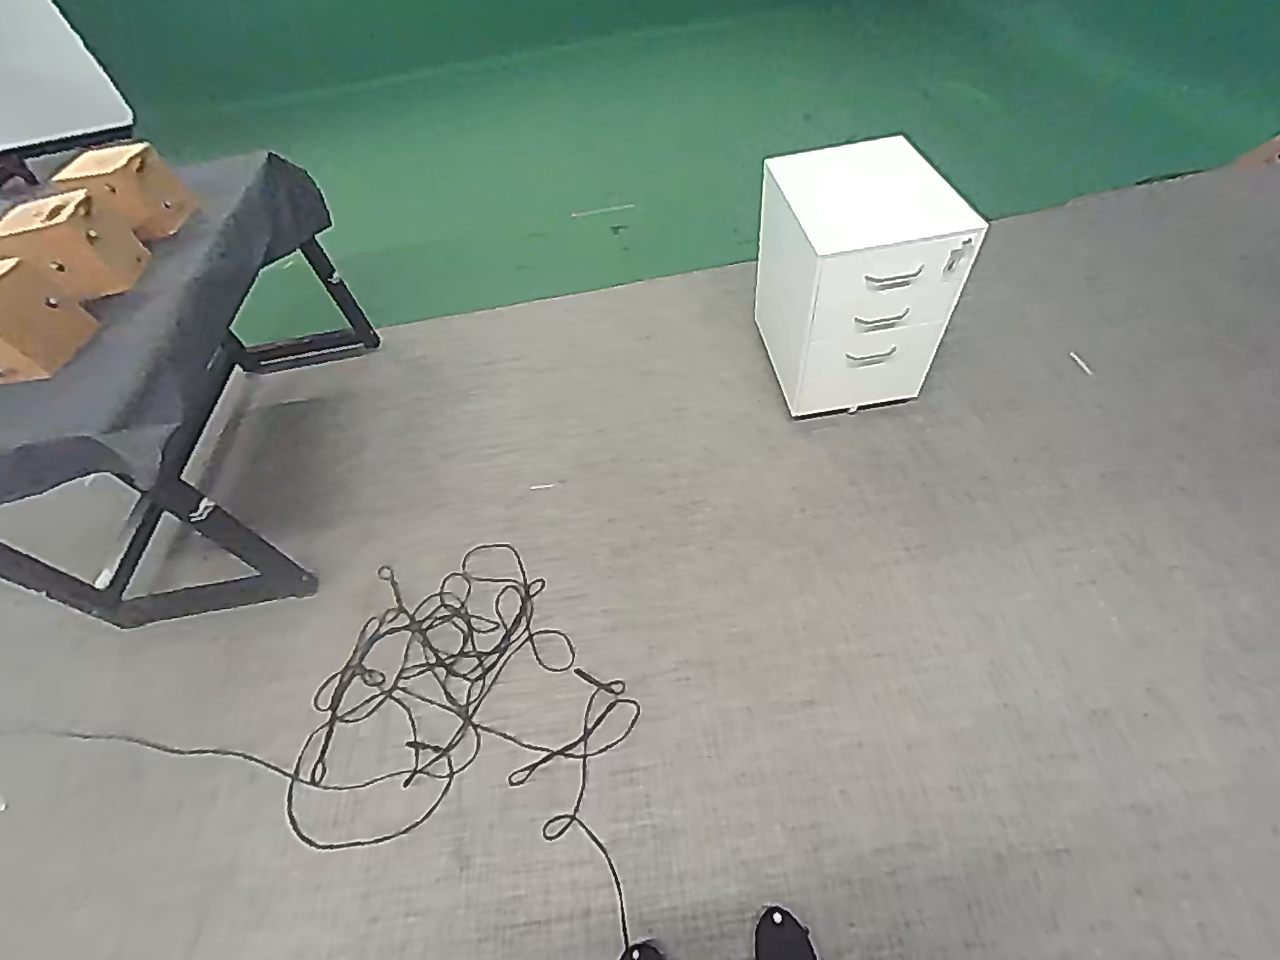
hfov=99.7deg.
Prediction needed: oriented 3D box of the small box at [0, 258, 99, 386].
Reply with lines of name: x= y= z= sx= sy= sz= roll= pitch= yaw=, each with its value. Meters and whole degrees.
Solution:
small box: x=-1.267 y=-0.314 z=1.087 sx=0.168 sy=0.176 sz=0.179 roll=-7 pitch=54 yaw=5

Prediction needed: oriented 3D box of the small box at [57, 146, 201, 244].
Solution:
small box: x=-1.320 y=-0.739 z=1.413 sx=0.179 sy=0.176 sz=0.168 roll=-5 pitch=53 yaw=4
